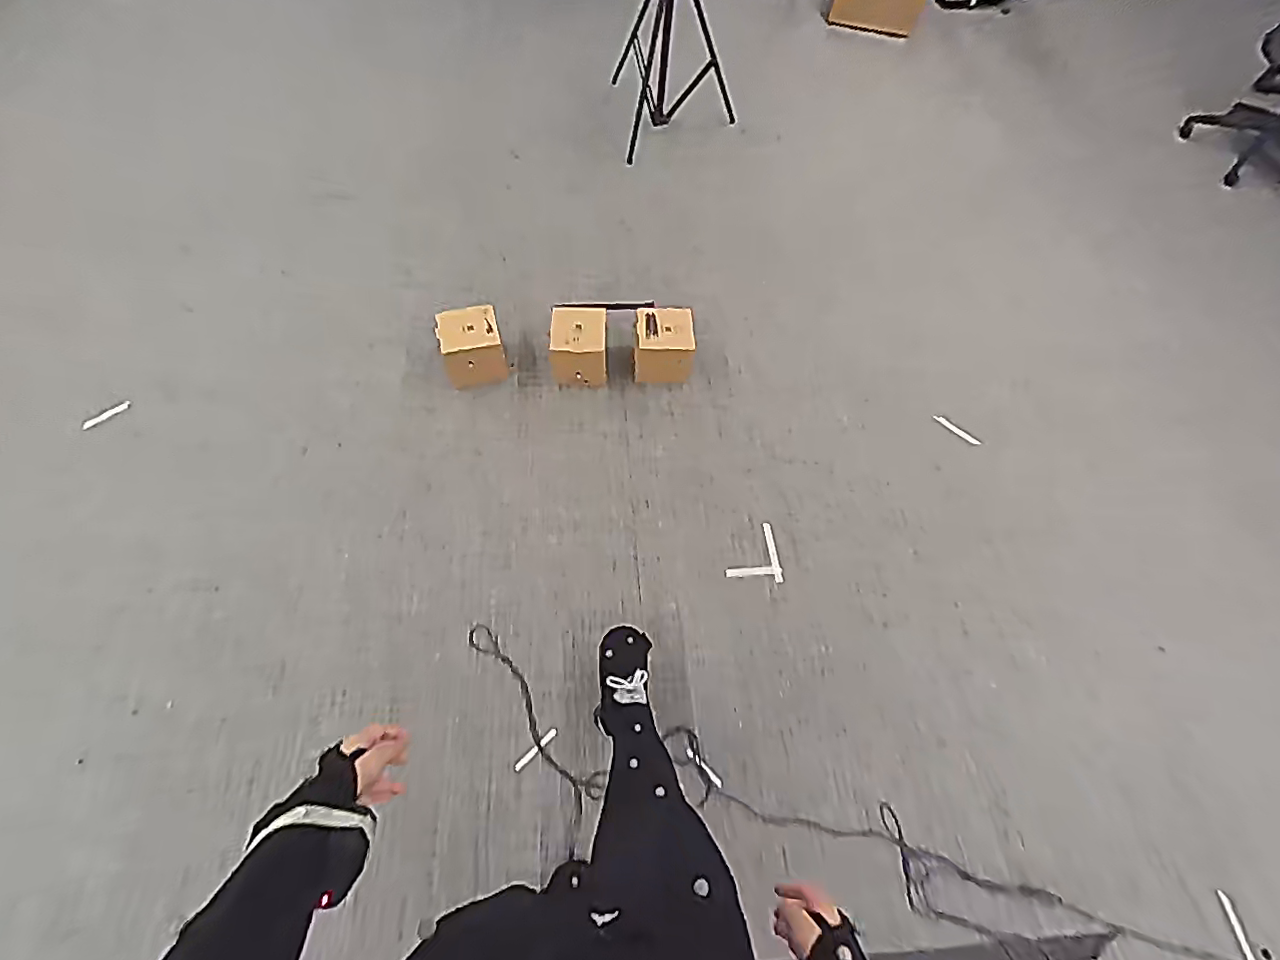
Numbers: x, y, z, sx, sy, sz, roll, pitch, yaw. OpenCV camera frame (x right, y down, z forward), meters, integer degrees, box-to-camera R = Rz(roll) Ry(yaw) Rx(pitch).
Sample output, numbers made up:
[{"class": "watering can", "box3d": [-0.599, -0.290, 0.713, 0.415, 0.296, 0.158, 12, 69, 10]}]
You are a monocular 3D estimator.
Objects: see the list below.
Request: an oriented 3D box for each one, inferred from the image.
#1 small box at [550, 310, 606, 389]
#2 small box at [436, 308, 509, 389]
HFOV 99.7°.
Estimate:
[{"class": "small box", "box3d": [-0.192, -0.412, 1.715, 0.168, 0.176, 0.179, 0, 63, -3]}, {"class": "small box", "box3d": [-0.520, -0.406, 1.690, 0.179, 0.176, 0.168, -13, 65, -10]}]
